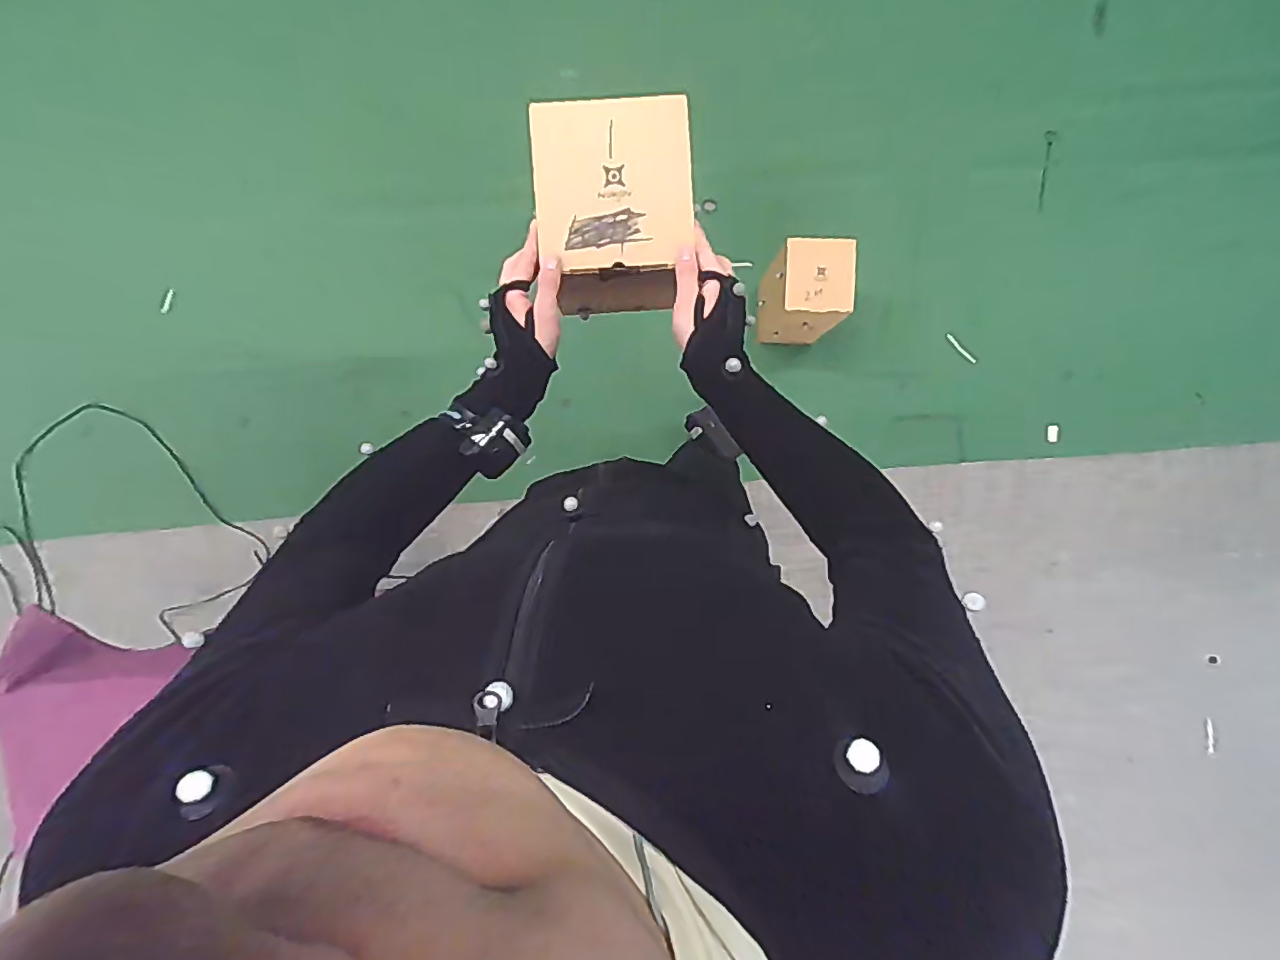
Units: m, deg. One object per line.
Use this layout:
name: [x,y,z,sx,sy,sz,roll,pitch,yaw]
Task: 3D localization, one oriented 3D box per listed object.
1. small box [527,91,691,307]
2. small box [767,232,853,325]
small box: [-0.031,-0.311,0.636,0.168,0.176,0.179,-4,92,-1]
small box: [0.421,-0.502,1.365,0.168,0.176,0.179,2,93,0]
